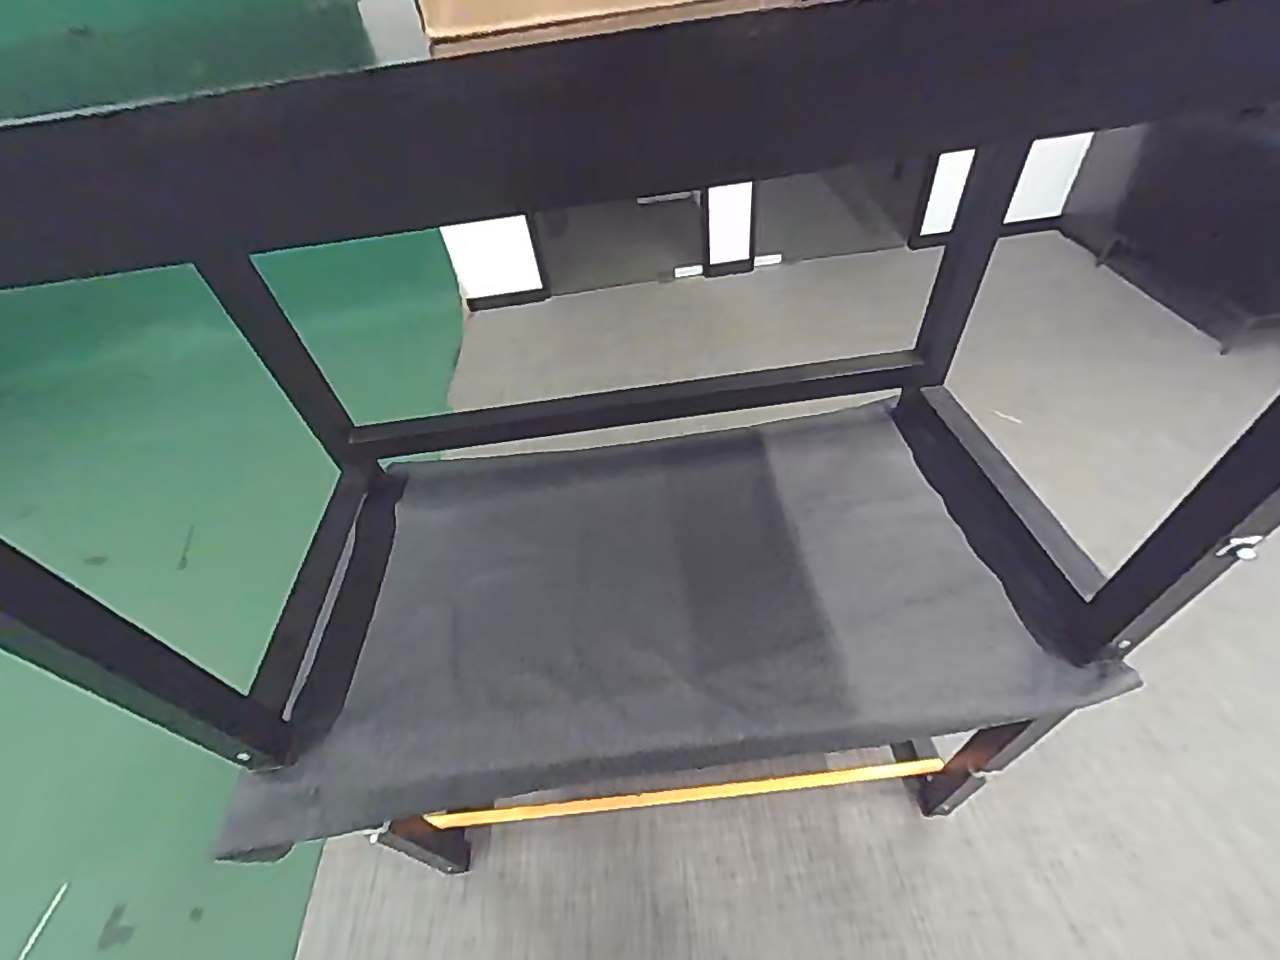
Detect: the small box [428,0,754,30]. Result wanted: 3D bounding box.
[{"bbox_3d":[-0.029,-0.322,0.241,0.168,0.176,0.179,-8,46,1],"label":"small box"}]
